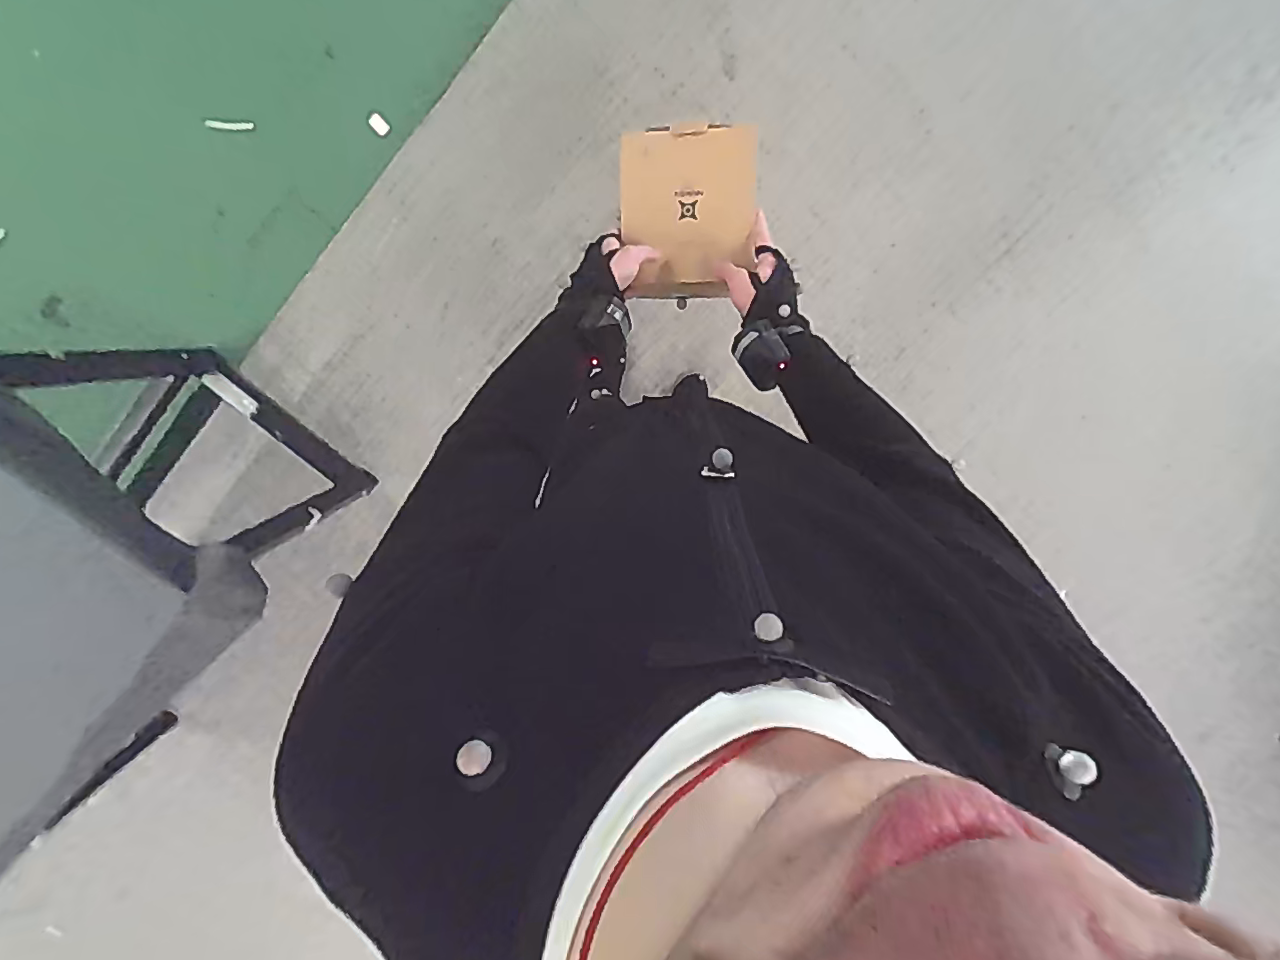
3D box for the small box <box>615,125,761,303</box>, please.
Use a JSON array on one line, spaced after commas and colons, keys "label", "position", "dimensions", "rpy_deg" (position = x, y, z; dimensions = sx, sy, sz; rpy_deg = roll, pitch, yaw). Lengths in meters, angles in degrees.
[{"label": "small box", "position": [0.062, -0.336, 0.713], "dimensions": [0.168, 0.176, 0.179], "rpy_deg": [3, 102, 7]}]
